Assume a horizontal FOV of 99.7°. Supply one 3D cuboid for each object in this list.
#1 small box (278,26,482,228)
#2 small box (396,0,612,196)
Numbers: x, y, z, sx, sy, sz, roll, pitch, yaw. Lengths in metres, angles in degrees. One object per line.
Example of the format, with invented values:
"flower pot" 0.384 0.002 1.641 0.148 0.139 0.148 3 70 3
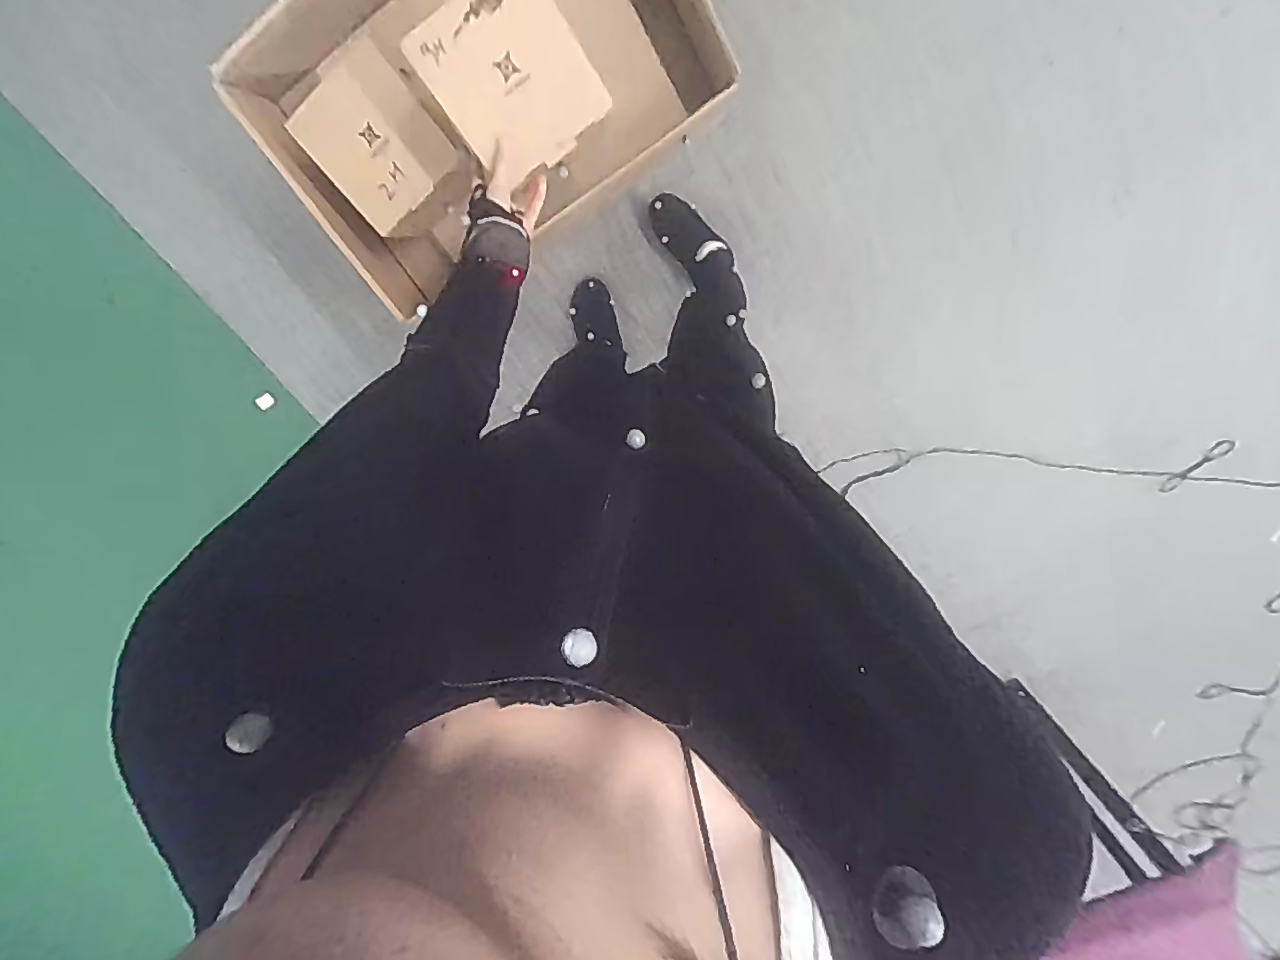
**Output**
"small box" -0.361 -0.490 0.787 0.168 0.176 0.179 -34 111 14
"small box" -0.157 -0.476 0.663 0.168 0.176 0.179 -36 113 3
